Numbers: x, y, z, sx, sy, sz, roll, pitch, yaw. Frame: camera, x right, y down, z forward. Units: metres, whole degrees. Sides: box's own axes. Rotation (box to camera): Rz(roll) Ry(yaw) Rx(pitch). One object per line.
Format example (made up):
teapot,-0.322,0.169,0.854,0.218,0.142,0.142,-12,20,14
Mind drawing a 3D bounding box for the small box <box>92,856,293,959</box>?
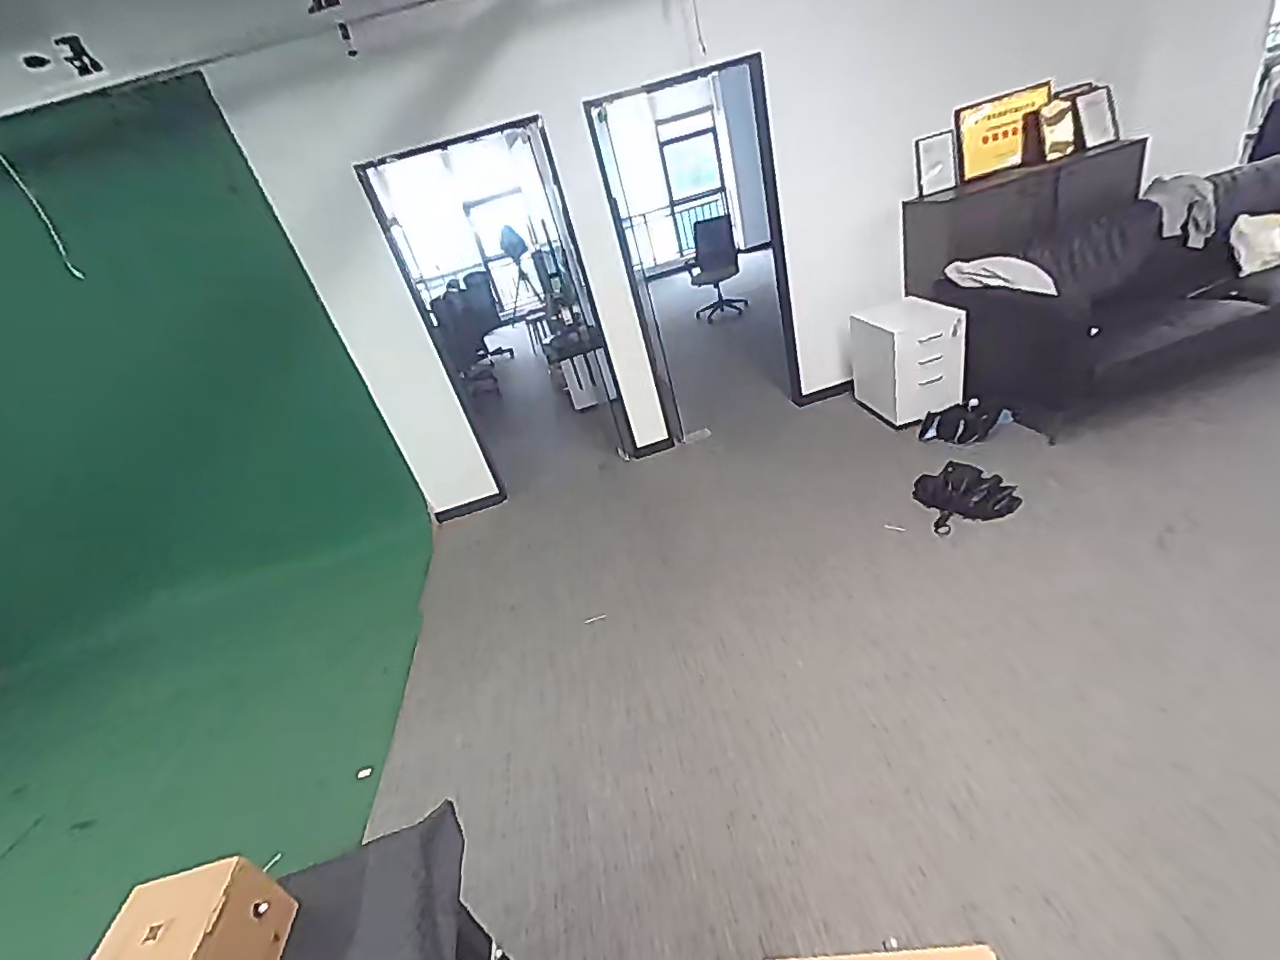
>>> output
small box,-0.666,0.712,0.804,0.179,0.176,0.168,-18,26,-1
